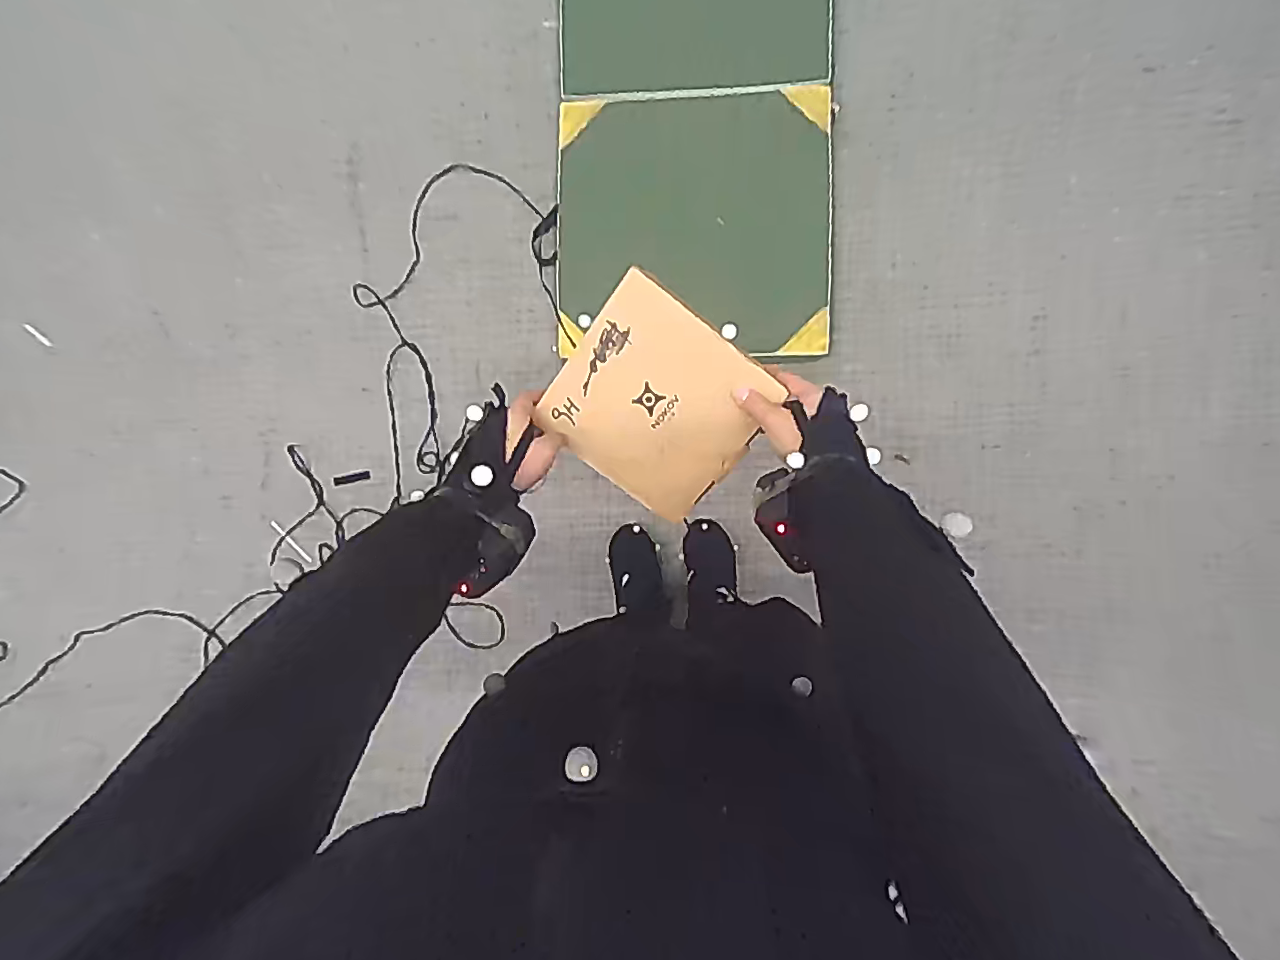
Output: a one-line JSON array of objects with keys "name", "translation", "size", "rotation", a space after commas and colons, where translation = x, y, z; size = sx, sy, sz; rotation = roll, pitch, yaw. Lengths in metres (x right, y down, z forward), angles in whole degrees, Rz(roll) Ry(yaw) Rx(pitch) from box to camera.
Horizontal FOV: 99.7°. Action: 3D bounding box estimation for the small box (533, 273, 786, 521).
[{"name": "small box", "translation": [0.022, -0.094, 0.567], "size": [0.179, 0.176, 0.168], "rotation": [37, 107, -7]}]
